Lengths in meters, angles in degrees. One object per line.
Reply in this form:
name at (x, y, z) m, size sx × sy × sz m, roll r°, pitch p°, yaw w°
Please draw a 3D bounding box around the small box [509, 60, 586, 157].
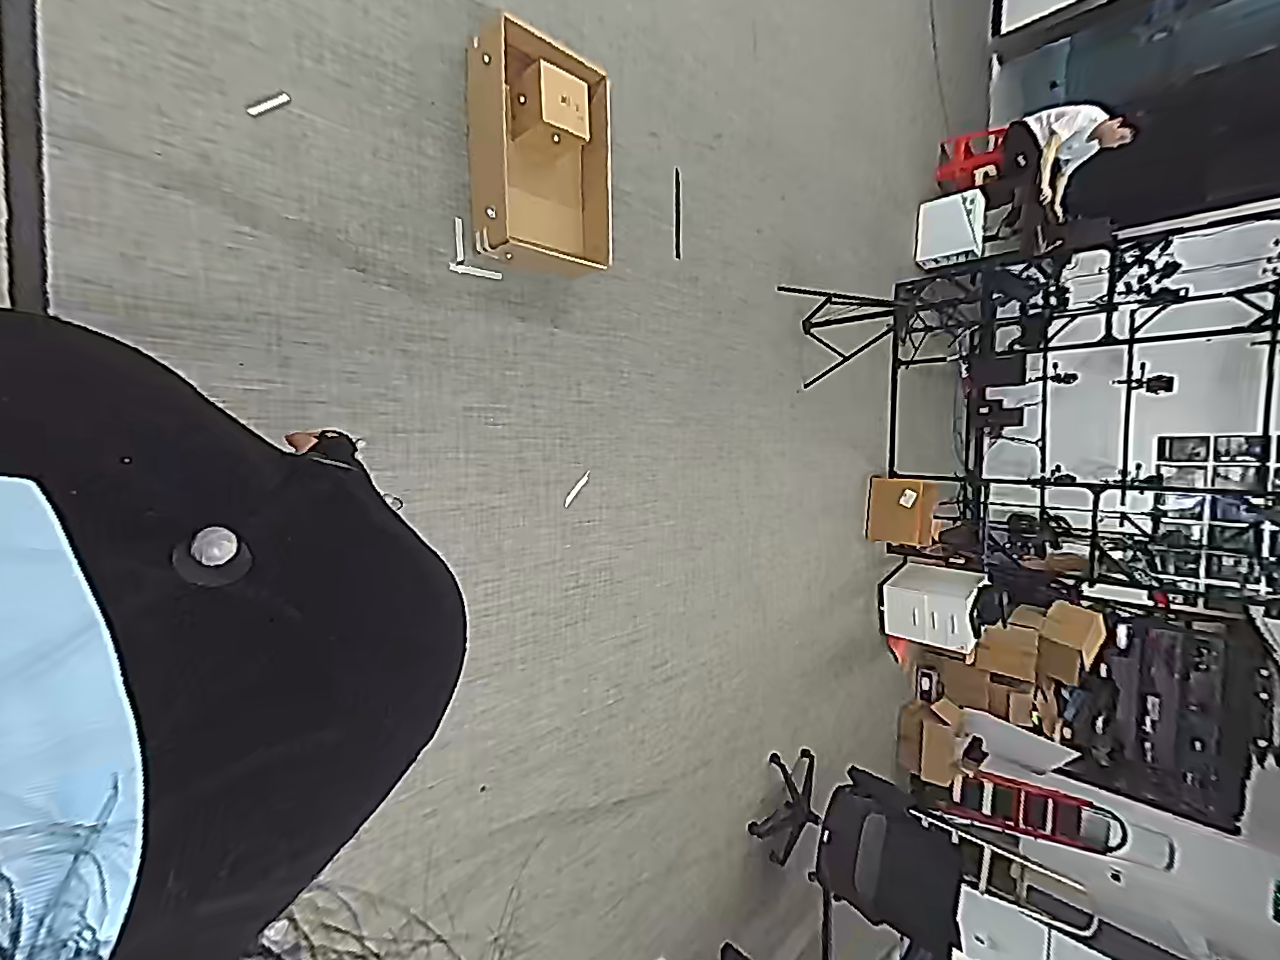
small box at (-0.287, -1.119, 1.649) m, size 0.179 × 0.176 × 0.168 m, roll -7°, pitch 99°, yaw -45°
